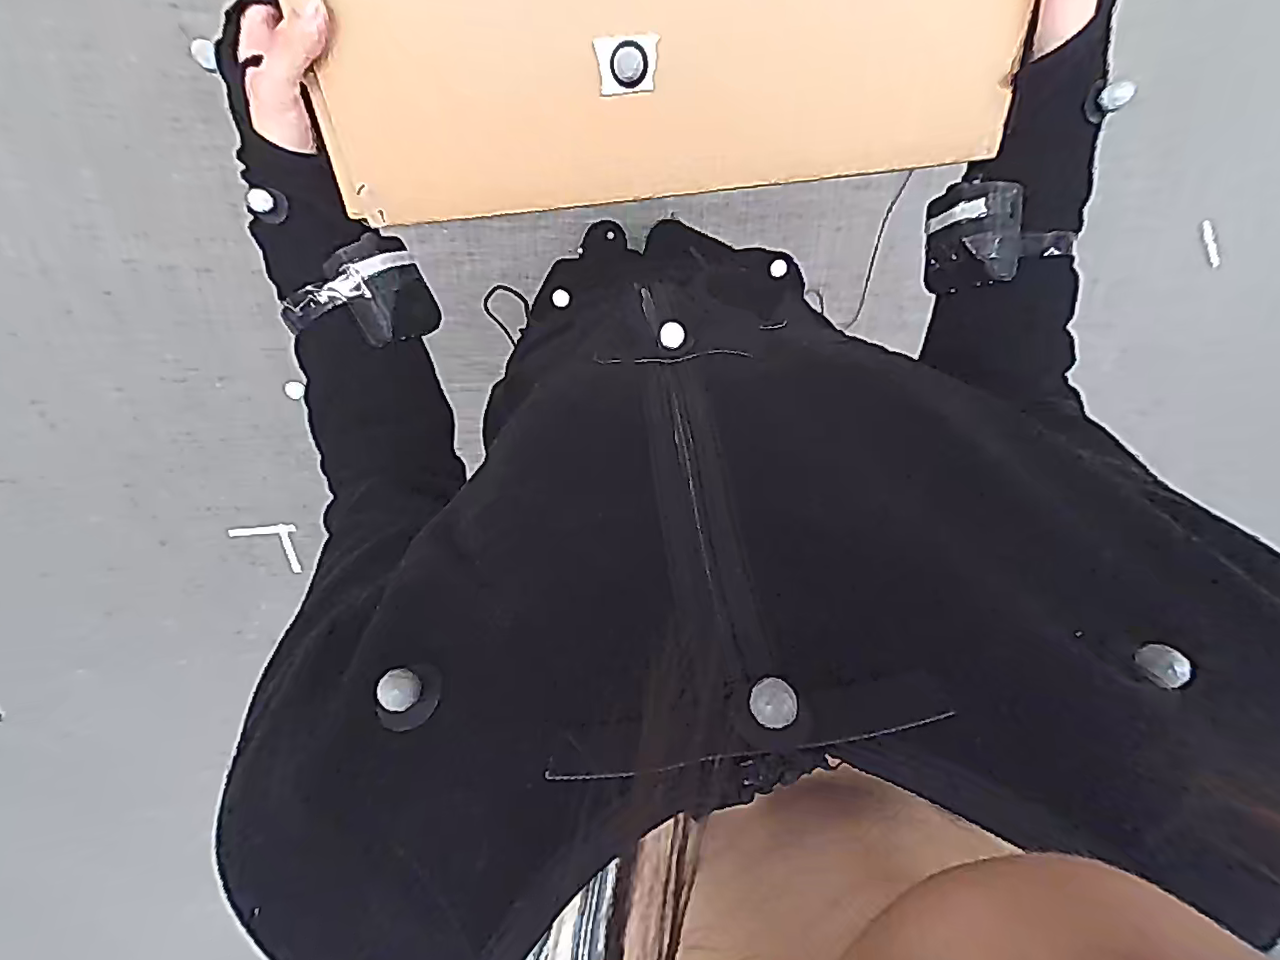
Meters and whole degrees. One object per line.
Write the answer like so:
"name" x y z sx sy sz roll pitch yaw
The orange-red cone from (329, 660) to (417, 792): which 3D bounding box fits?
"orange-red cone" -0.819 0.735 1.582 0.199 0.360 0.198 -9 116 -1
